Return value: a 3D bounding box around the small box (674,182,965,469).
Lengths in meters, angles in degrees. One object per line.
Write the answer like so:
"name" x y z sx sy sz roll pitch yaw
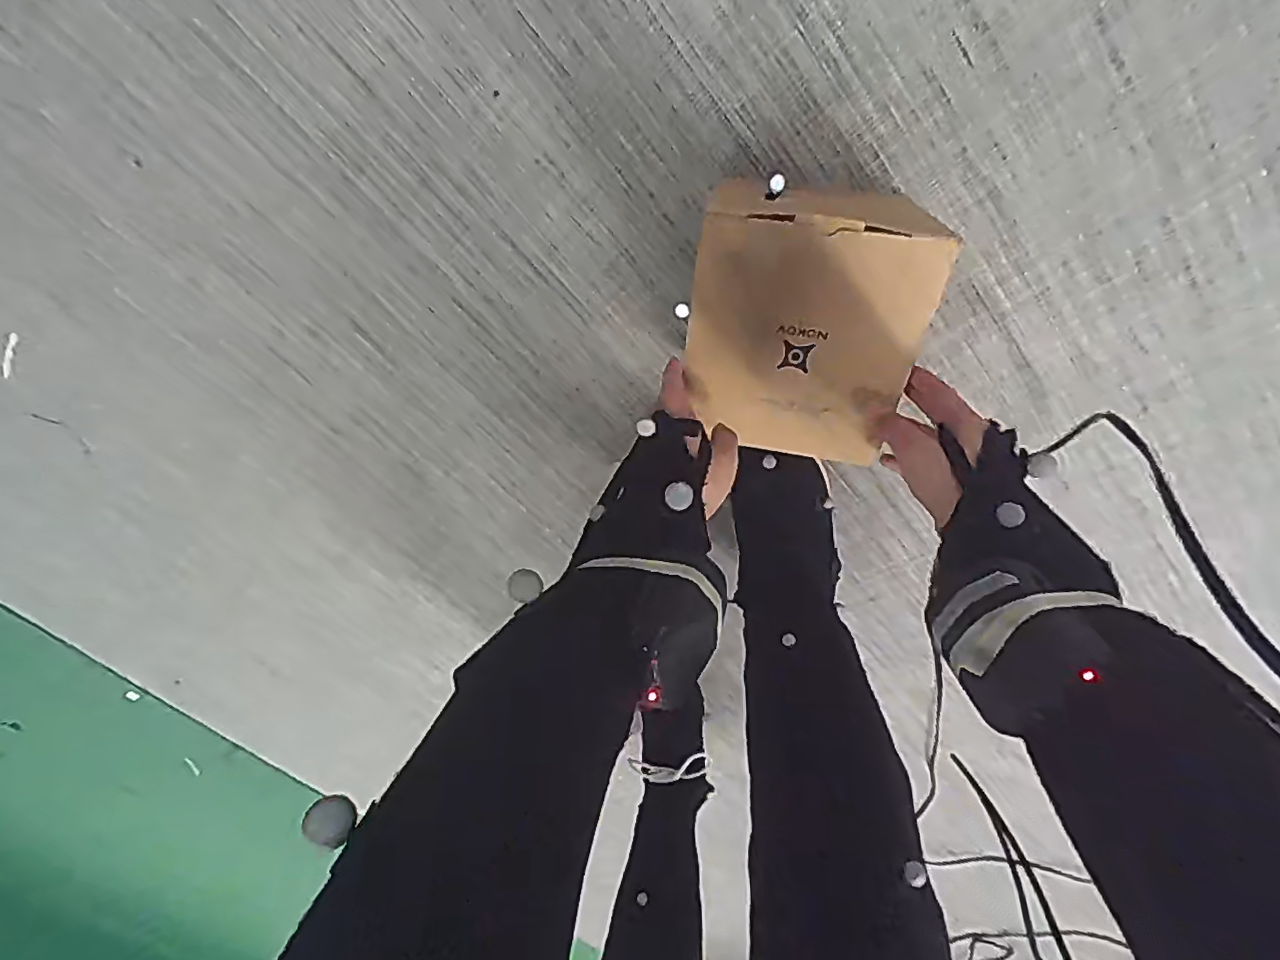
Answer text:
"small box" 0.130 -0.137 0.451 0.168 0.176 0.179 11 127 8
